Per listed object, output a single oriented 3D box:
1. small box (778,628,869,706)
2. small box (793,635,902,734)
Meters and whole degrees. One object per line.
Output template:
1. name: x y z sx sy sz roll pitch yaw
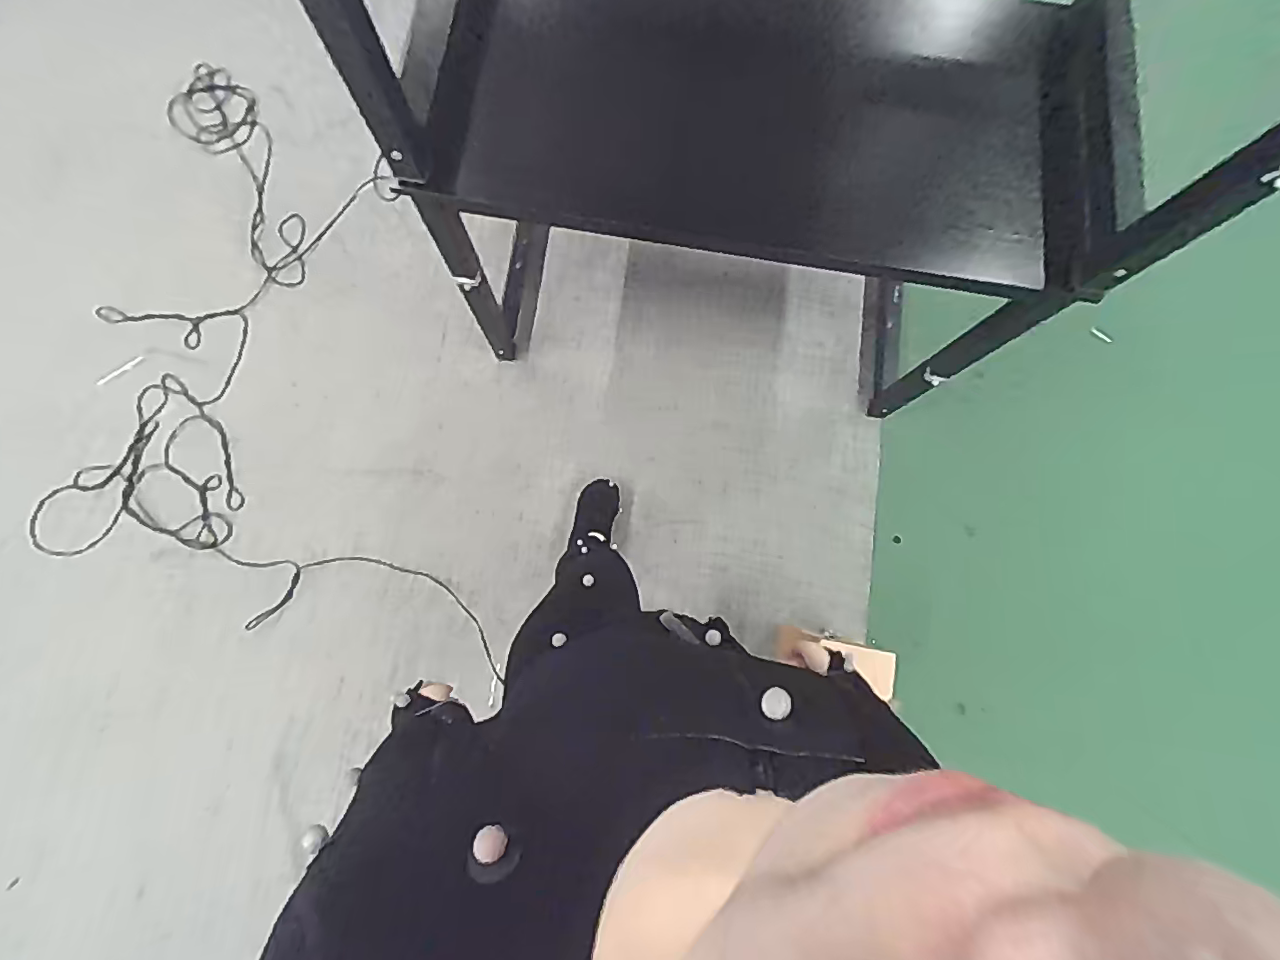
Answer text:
1. small box: 0.465 0.486 1.391 0.168 0.176 0.179 12 81 0
2. small box: 0.464 0.455 1.232 0.179 0.176 0.168 11 81 -1
